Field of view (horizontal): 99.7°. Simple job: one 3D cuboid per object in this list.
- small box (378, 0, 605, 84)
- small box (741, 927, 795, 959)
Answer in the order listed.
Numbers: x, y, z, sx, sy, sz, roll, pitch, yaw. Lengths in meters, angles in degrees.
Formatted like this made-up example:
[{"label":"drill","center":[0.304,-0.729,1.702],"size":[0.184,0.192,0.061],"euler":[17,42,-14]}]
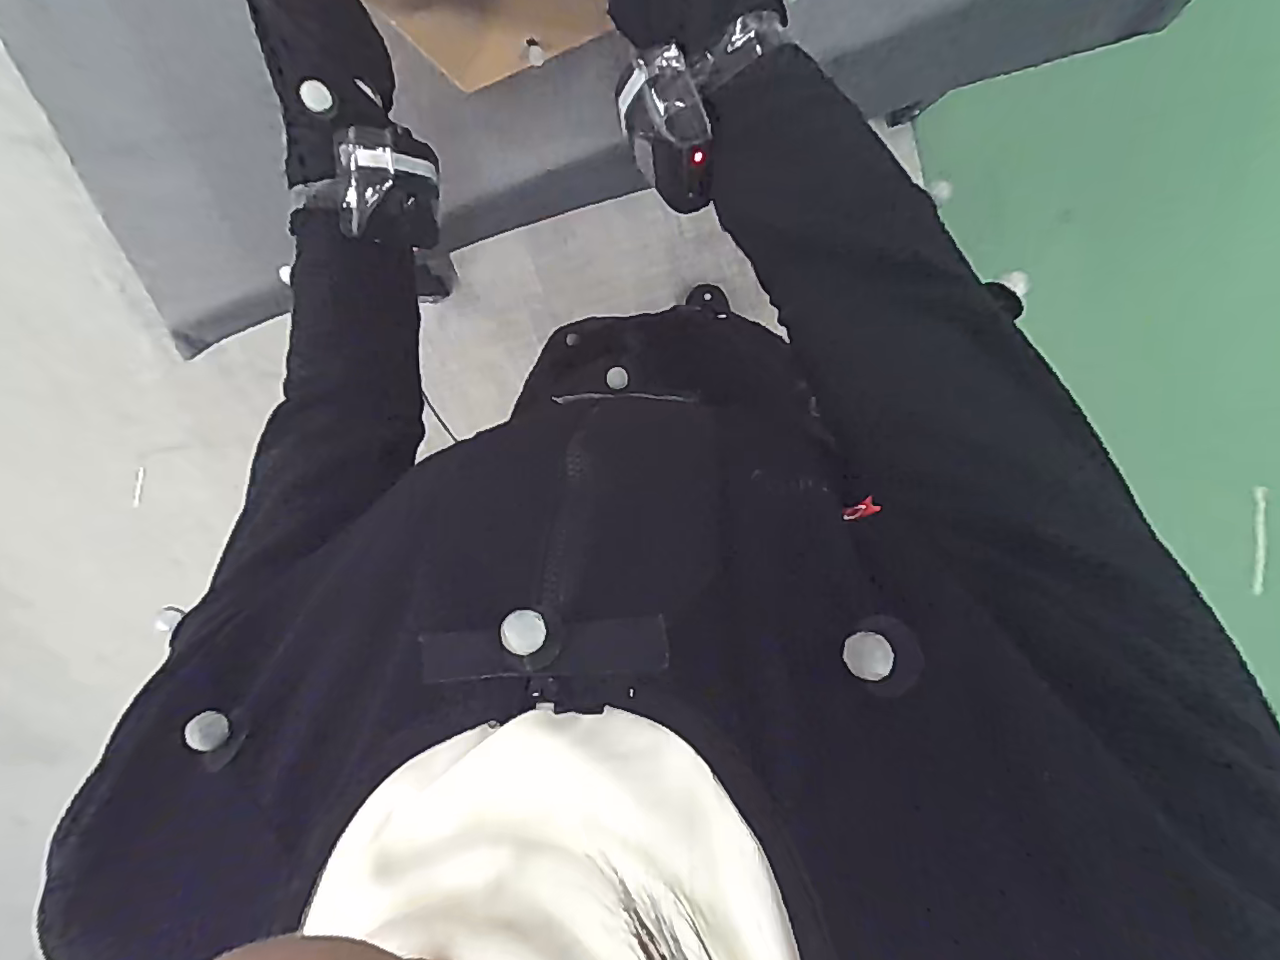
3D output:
[{"label":"small box","center":[-0.135,-0.482,0.457],"size":[0.179,0.176,0.168],"euler":[-16,106,10]},{"label":"small box","center":[0.470,1.749,1.938],"size":[0.179,0.176,0.168],"euler":[-13,107,10]}]
